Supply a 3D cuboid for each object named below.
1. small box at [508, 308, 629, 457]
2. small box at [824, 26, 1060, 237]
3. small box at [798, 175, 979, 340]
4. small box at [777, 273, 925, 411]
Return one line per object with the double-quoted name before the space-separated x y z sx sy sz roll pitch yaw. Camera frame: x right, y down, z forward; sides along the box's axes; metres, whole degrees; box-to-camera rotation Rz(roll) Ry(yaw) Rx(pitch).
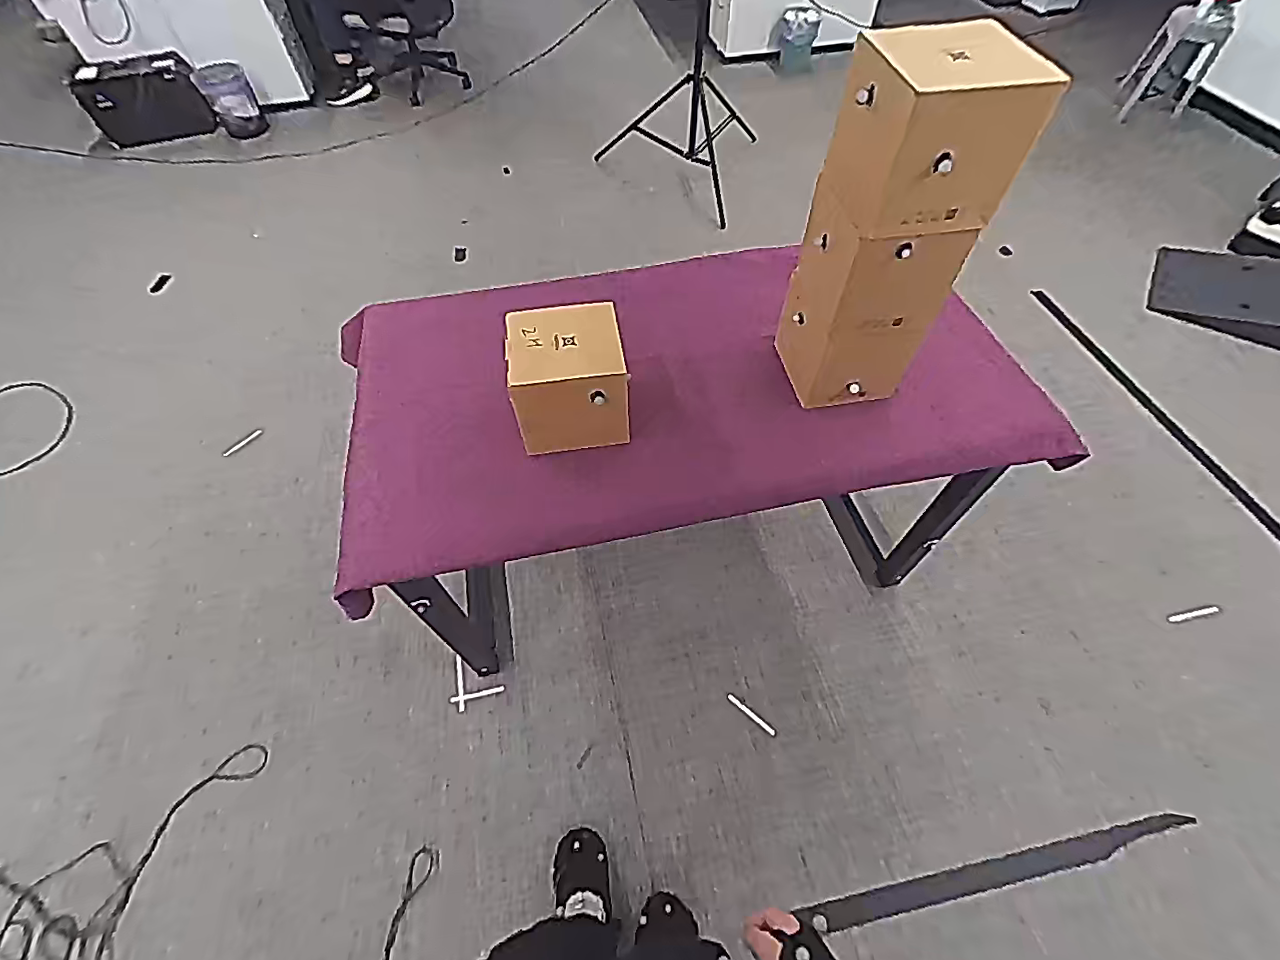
"small box" -0.114 -0.157 0.893 0.179 0.176 0.168 -8 55 -4
"small box" 0.349 -0.421 0.668 0.168 0.176 0.179 -7 56 -3
"small box" 0.350 -0.334 0.807 0.168 0.176 0.179 -7 55 -3
"small box" 0.352 -0.246 0.945 0.168 0.176 0.179 -9 57 -4
